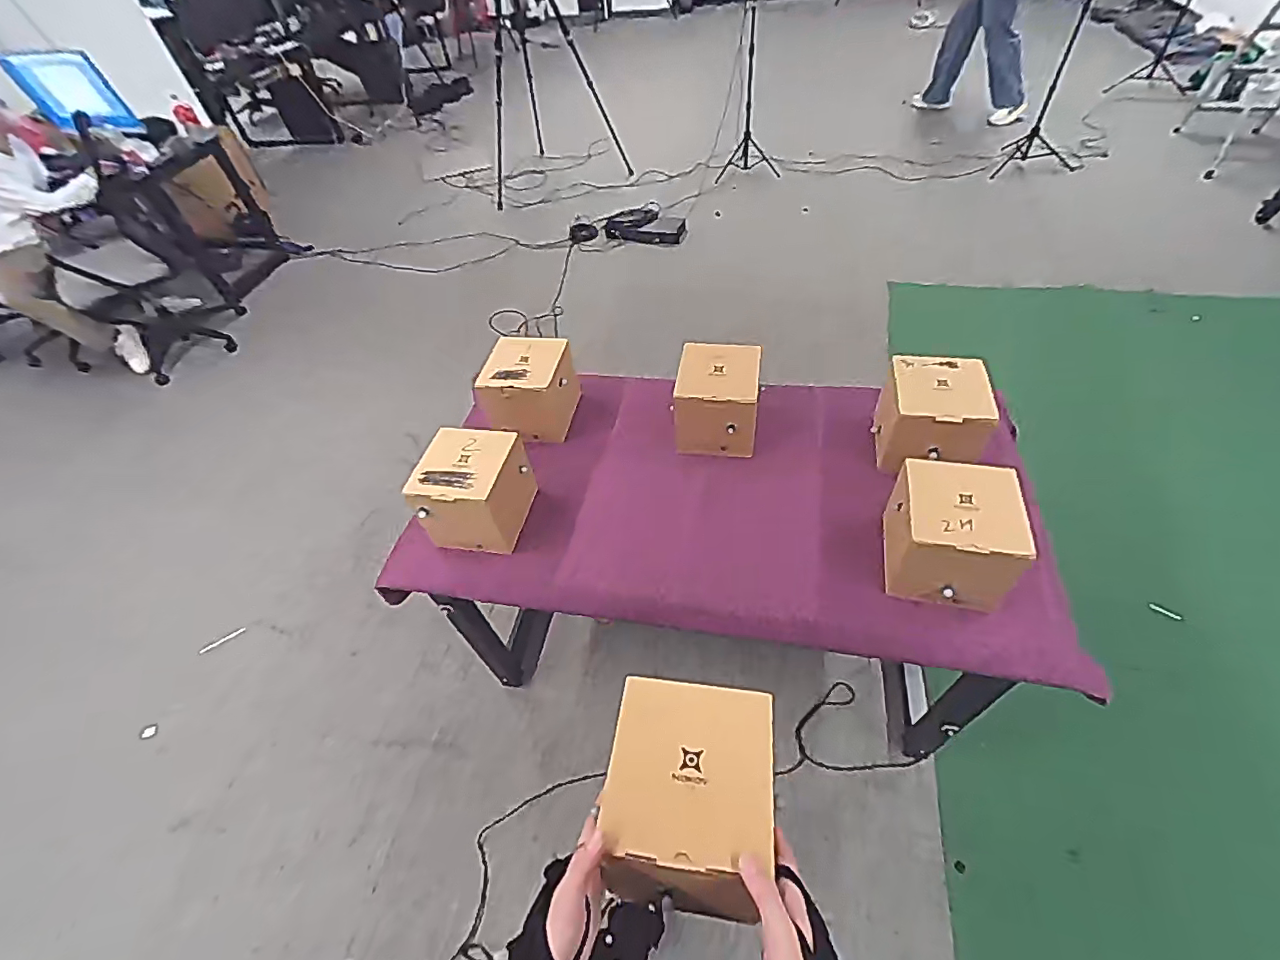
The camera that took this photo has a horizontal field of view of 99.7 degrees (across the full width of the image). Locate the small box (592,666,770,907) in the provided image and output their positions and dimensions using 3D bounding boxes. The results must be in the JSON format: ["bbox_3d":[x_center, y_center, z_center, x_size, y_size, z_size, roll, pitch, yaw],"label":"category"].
[{"bbox_3d":[0.052,0.338,0.603,0.168,0.176,0.179,4,43,10],"label":"small box"}]

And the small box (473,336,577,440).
[{"bbox_3d":[-0.252,-0.209,1.240,0.168,0.176,0.179,4,51,10],"label":"small box"}]

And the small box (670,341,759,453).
[{"bbox_3d":[0.163,-0.176,1.162,0.168,0.176,0.179,5,51,11],"label":"small box"}]

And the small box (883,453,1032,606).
[{"bbox_3d":[0.507,0.081,0.895,0.168,0.176,0.179,7,51,15],"label":"small box"}]

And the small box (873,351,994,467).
[{"bbox_3d":[0.566,-0.131,1.068,0.168,0.176,0.179,6,52,12],"label":"small box"}]
